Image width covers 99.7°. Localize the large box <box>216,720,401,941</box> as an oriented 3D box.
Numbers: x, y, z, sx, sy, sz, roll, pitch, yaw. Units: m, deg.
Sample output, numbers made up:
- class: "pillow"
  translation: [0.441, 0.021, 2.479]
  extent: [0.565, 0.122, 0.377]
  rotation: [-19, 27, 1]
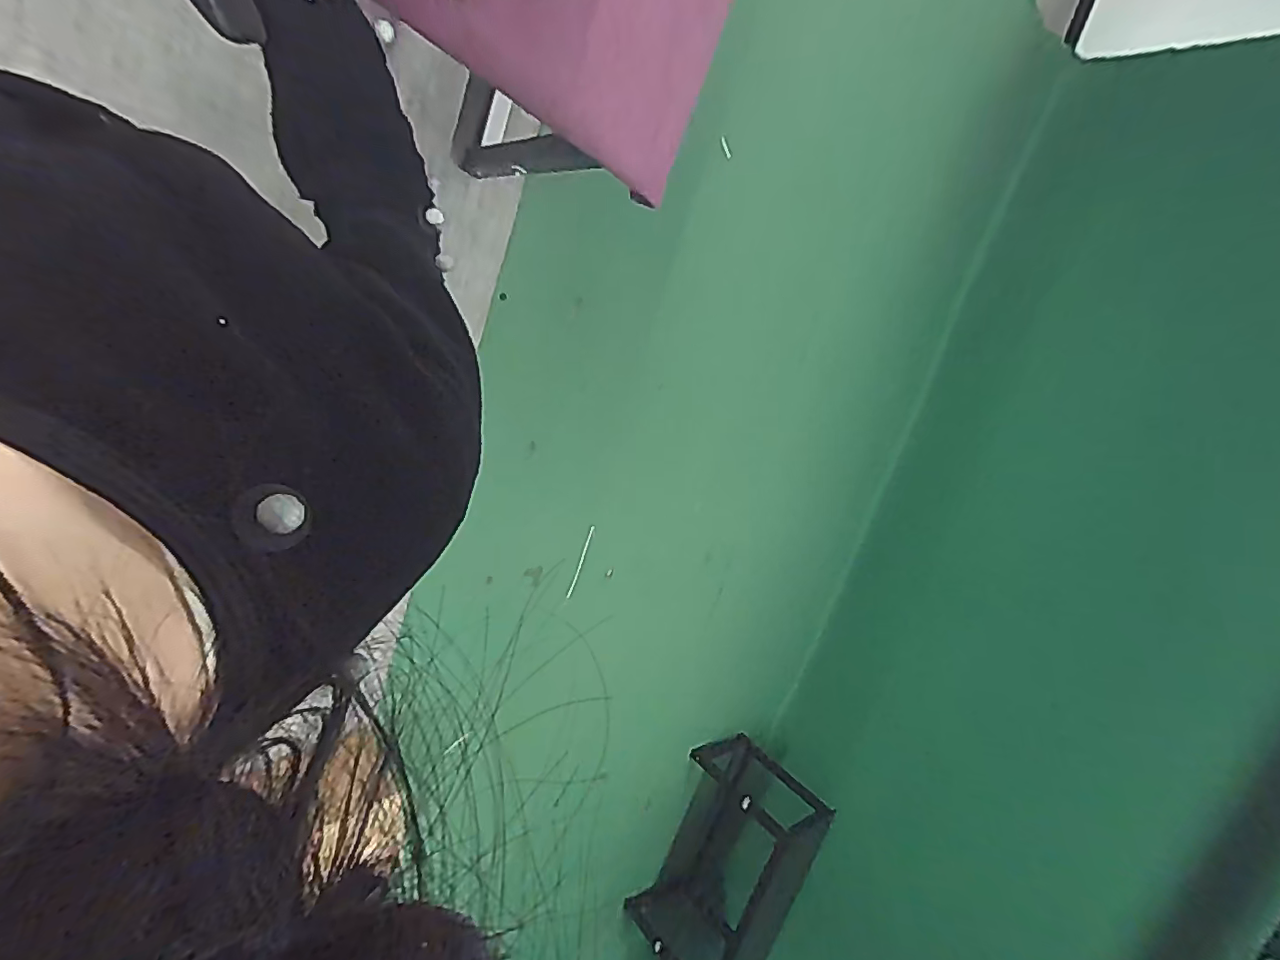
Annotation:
- class: "large box"
  translation: [-0.973, 1.004, 1.605]
  extent: [0.408, 0.320, 0.320]
  rotation: [-9, 117, -42]
